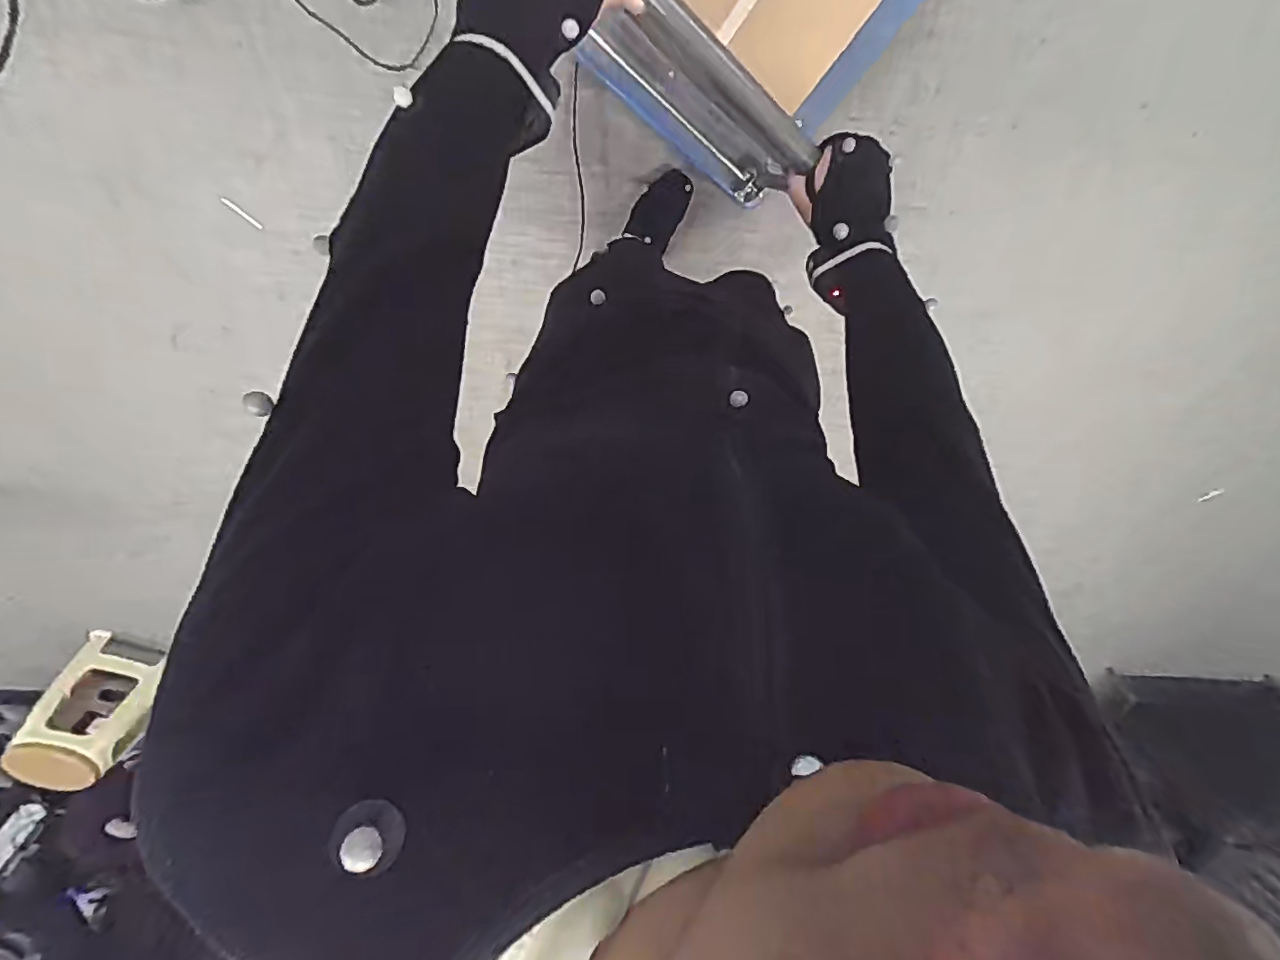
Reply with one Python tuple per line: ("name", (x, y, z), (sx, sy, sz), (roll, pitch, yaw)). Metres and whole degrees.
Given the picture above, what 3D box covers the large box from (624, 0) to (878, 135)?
("large box", (0.209, -0.837, 0.857), (0.320, 0.320, 0.408), (32, 117, -21))
